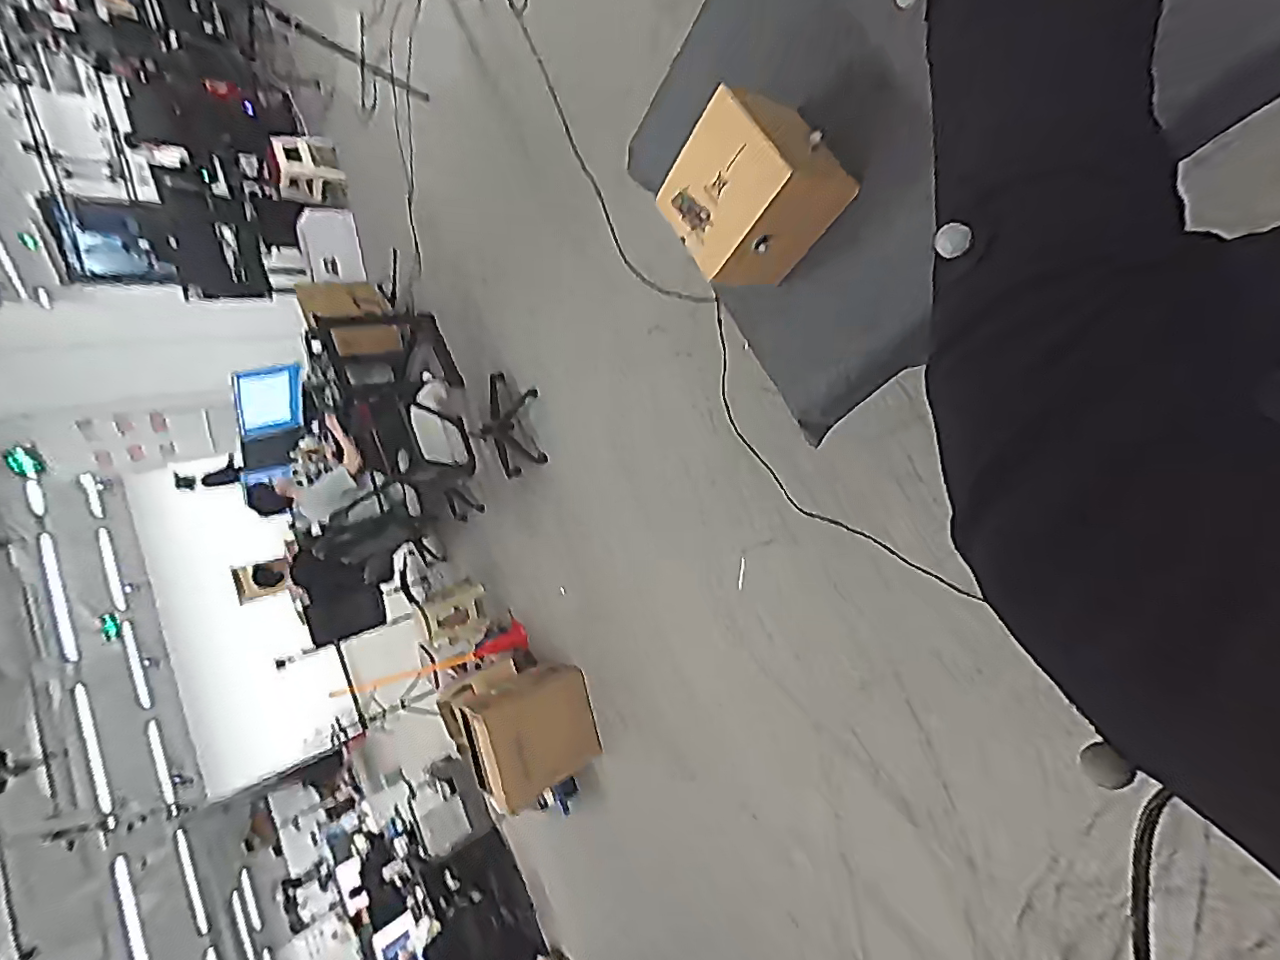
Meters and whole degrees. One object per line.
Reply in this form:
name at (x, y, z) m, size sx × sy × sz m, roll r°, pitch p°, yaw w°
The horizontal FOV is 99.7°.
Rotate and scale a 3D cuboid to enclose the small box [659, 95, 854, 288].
small box at (0.165, -0.396, 0.777) m, size 0.179 × 0.176 × 0.168 m, roll -46°, pitch 67°, yaw 46°
